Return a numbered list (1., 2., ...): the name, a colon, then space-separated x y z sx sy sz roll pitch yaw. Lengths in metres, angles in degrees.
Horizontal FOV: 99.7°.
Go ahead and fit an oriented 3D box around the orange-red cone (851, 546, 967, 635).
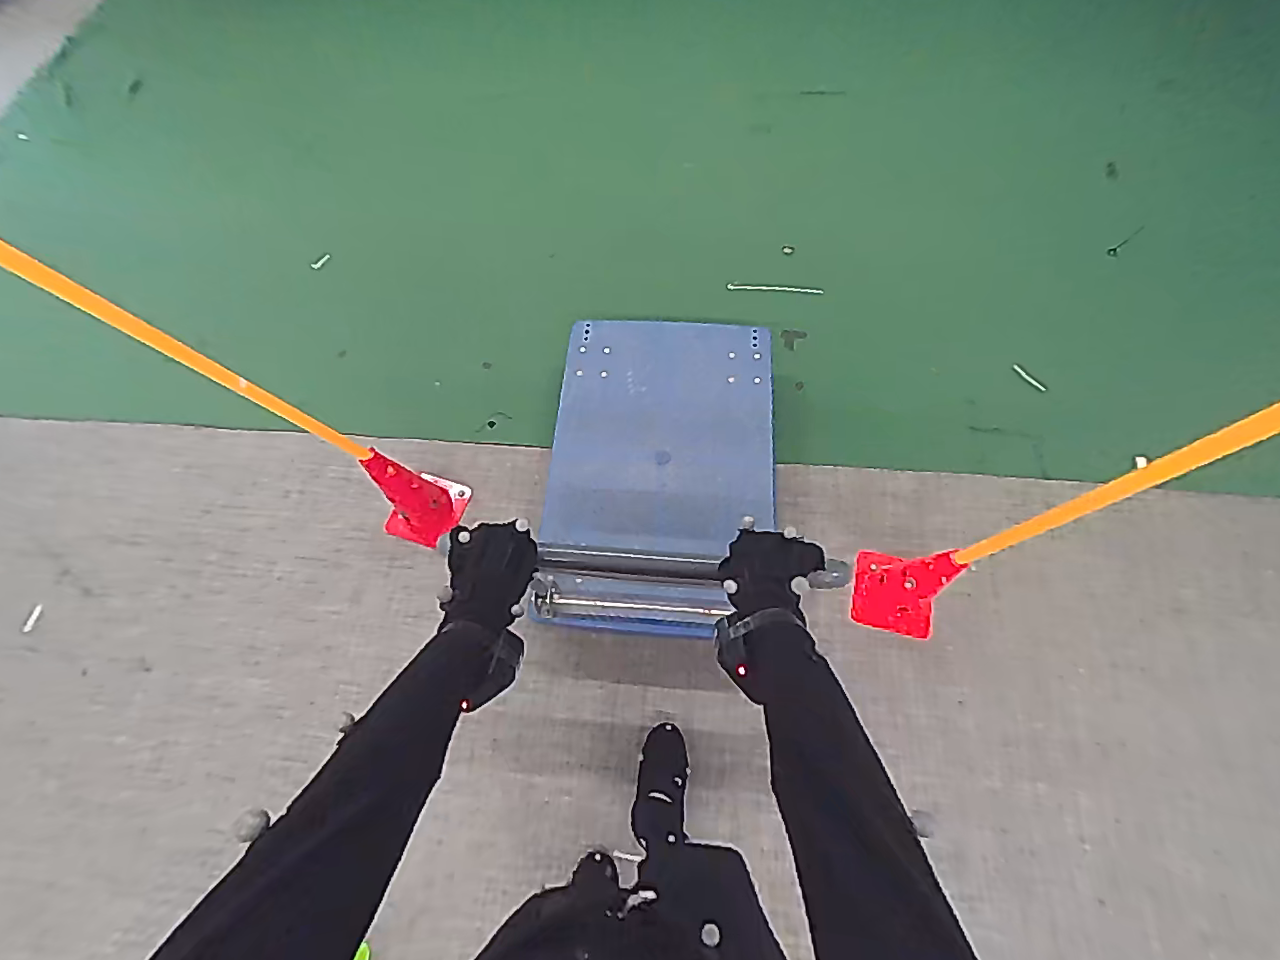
1. orange-red cone: 0.647 0.218 1.241 0.198 0.360 0.199 14 69 9
